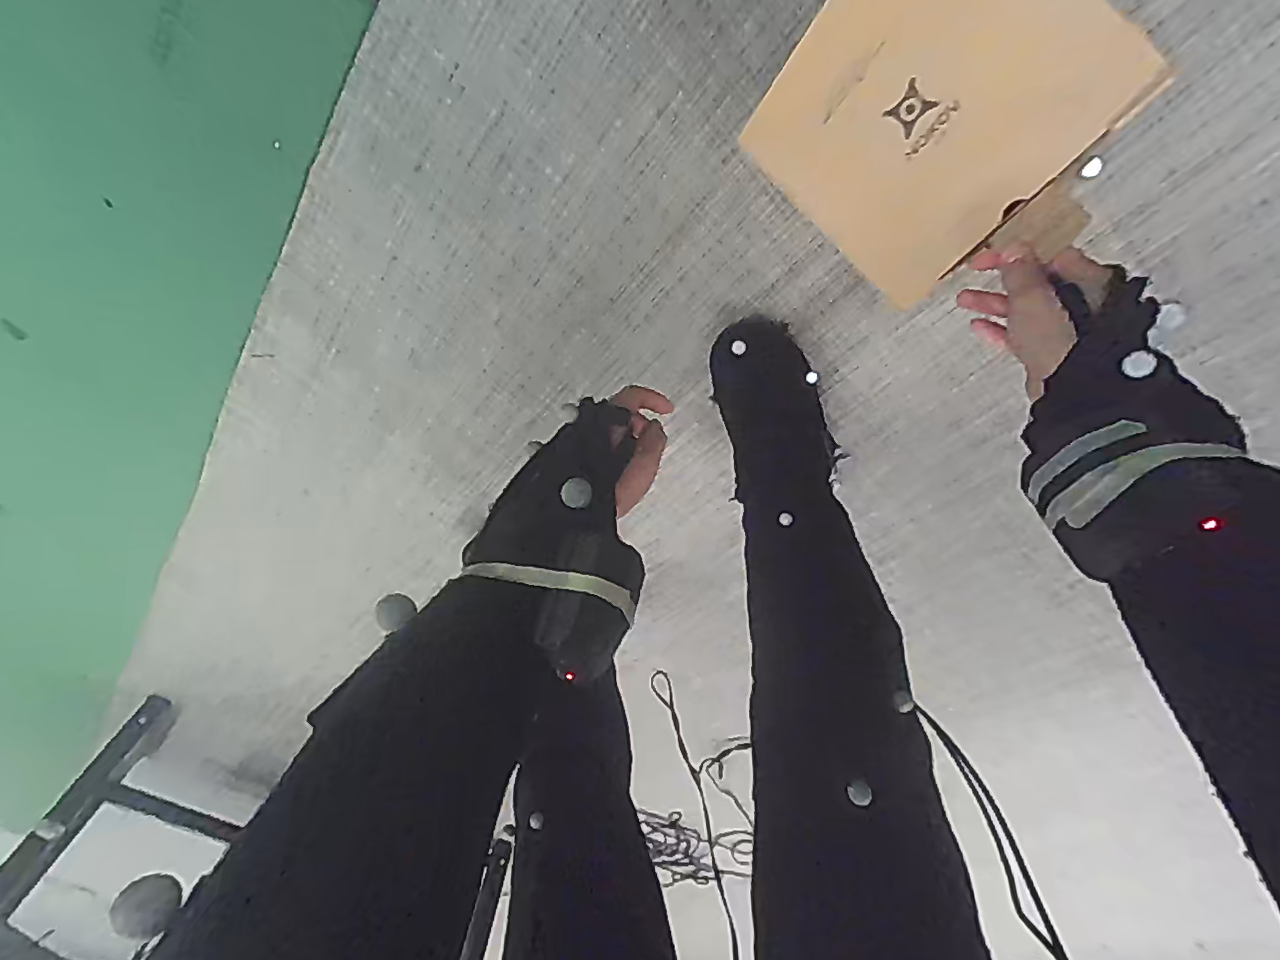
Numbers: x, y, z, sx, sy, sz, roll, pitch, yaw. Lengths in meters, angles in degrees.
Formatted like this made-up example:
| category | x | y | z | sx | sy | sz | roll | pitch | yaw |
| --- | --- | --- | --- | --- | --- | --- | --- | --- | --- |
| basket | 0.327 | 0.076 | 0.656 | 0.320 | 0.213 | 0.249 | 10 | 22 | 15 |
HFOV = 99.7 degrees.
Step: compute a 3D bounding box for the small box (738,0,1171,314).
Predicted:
| category | x | y | z | sx | sy | sz | roll | pitch | yaw |
| --- | --- | --- | --- | --- | --- | --- | --- | --- | --- |
| small box | 0.211 | -0.253 | 0.384 | 0.179 | 0.176 | 0.168 | 48 | 133 | 4 |
